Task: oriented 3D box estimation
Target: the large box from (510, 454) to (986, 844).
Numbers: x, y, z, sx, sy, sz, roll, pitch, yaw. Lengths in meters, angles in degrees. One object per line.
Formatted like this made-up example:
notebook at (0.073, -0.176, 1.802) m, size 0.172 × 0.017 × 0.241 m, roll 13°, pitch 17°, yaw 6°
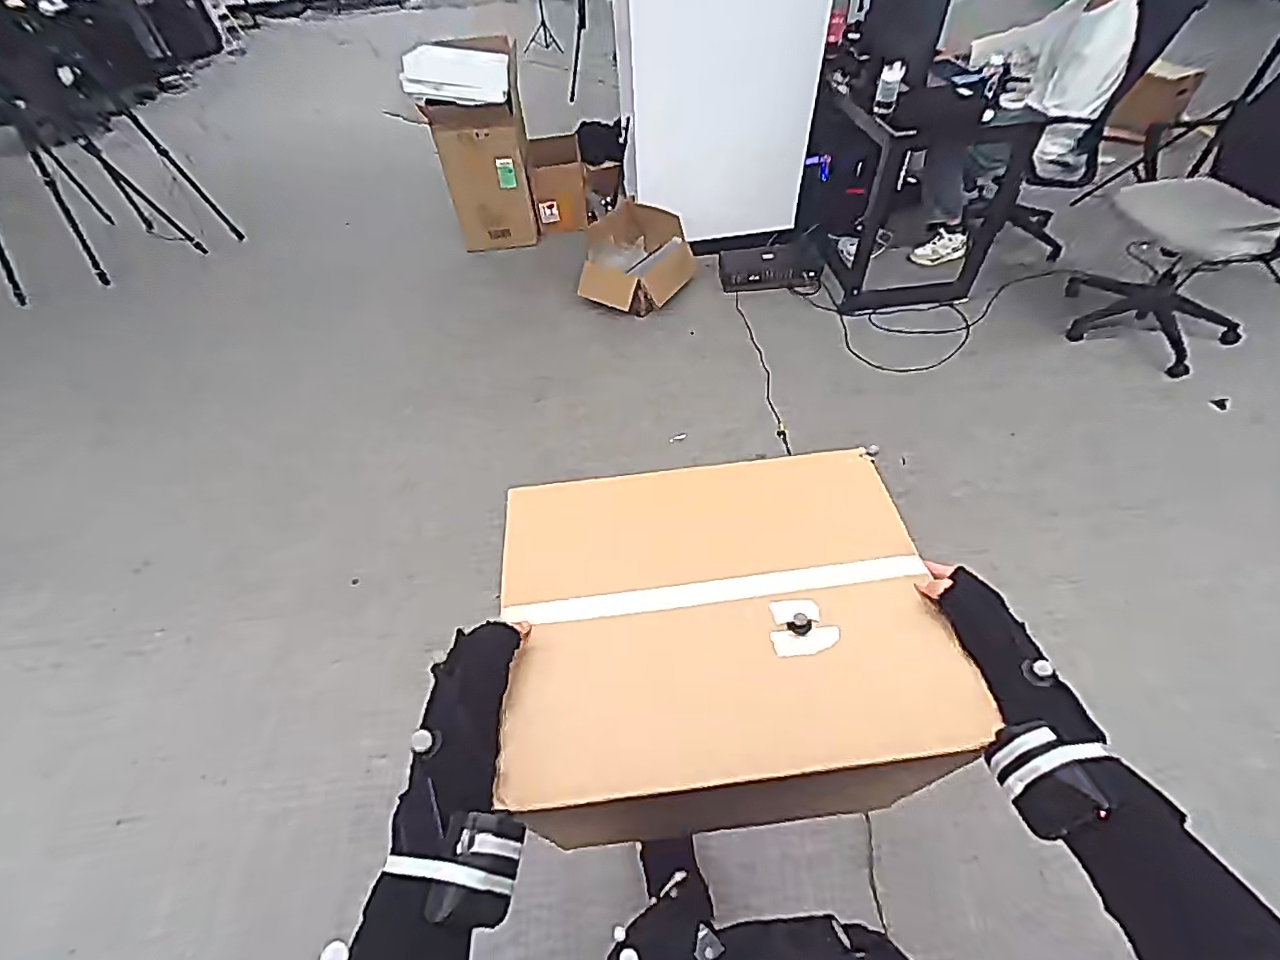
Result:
large box at (0.080, 0.205, 0.643) m, size 0.408 × 0.320 × 0.320 m, roll -7°, pitch 51°, yaw -2°
